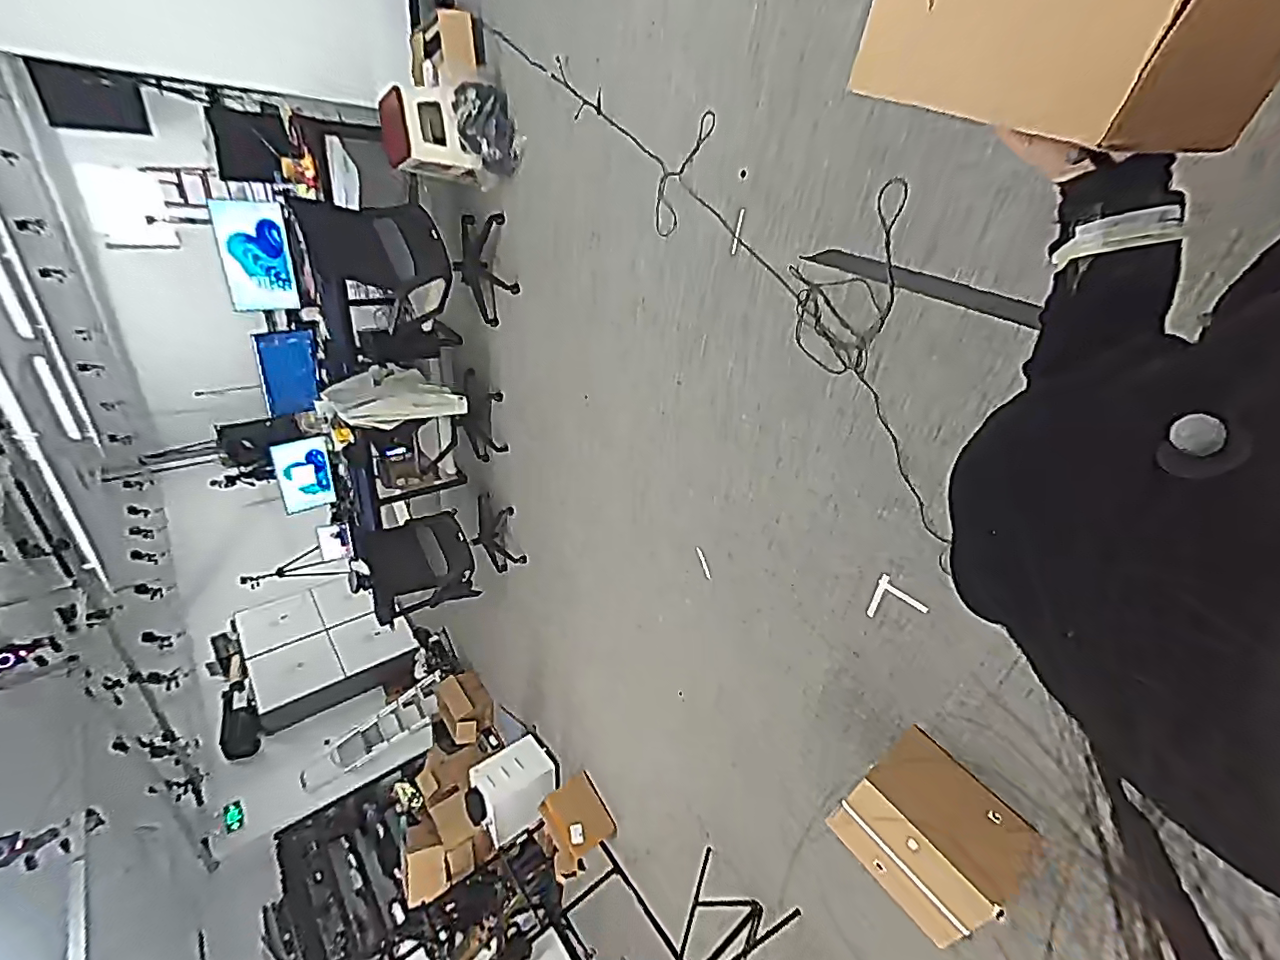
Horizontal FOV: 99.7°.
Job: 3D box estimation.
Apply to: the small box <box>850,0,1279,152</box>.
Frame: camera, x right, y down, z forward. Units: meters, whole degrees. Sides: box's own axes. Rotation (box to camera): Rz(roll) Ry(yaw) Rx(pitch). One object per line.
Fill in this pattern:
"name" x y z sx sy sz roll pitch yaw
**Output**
"small box" 0.265 -0.300 0.306 0.179 0.176 0.168 51 146 39
